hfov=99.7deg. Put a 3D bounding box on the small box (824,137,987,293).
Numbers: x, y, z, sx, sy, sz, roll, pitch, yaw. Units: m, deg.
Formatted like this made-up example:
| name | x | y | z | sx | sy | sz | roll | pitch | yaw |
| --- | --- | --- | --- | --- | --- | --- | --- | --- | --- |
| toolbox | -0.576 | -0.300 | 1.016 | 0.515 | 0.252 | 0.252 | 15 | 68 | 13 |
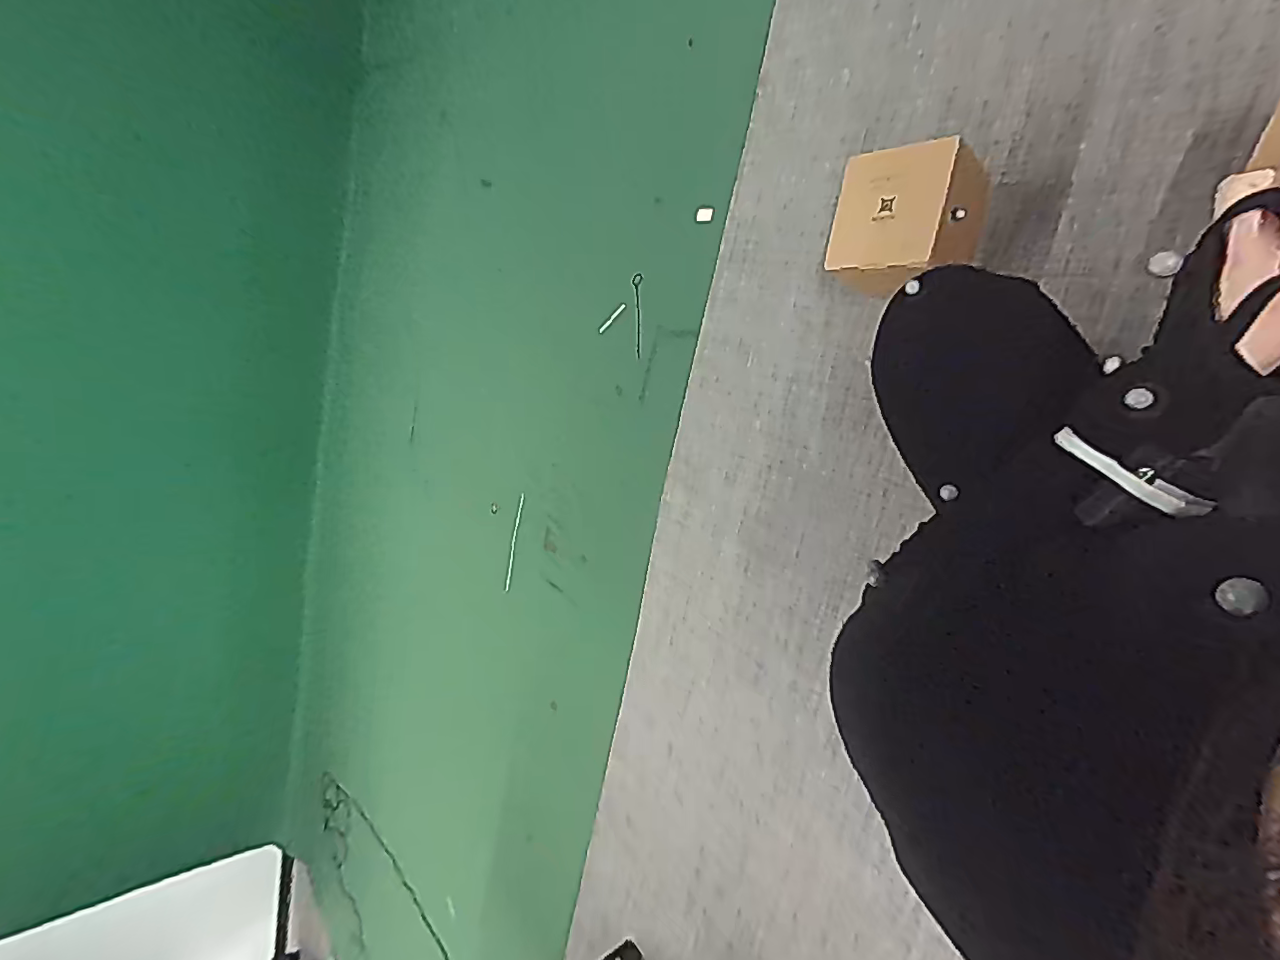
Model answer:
| name | x | y | z | sx | sy | sz | roll | pitch | yaw |
| --- | --- | --- | --- | --- | --- | --- | --- | --- | --- |
| small box | 0.428 | -0.407 | 0.868 | 0.168 | 0.176 | 0.179 | 21 | 103 | 44 |
